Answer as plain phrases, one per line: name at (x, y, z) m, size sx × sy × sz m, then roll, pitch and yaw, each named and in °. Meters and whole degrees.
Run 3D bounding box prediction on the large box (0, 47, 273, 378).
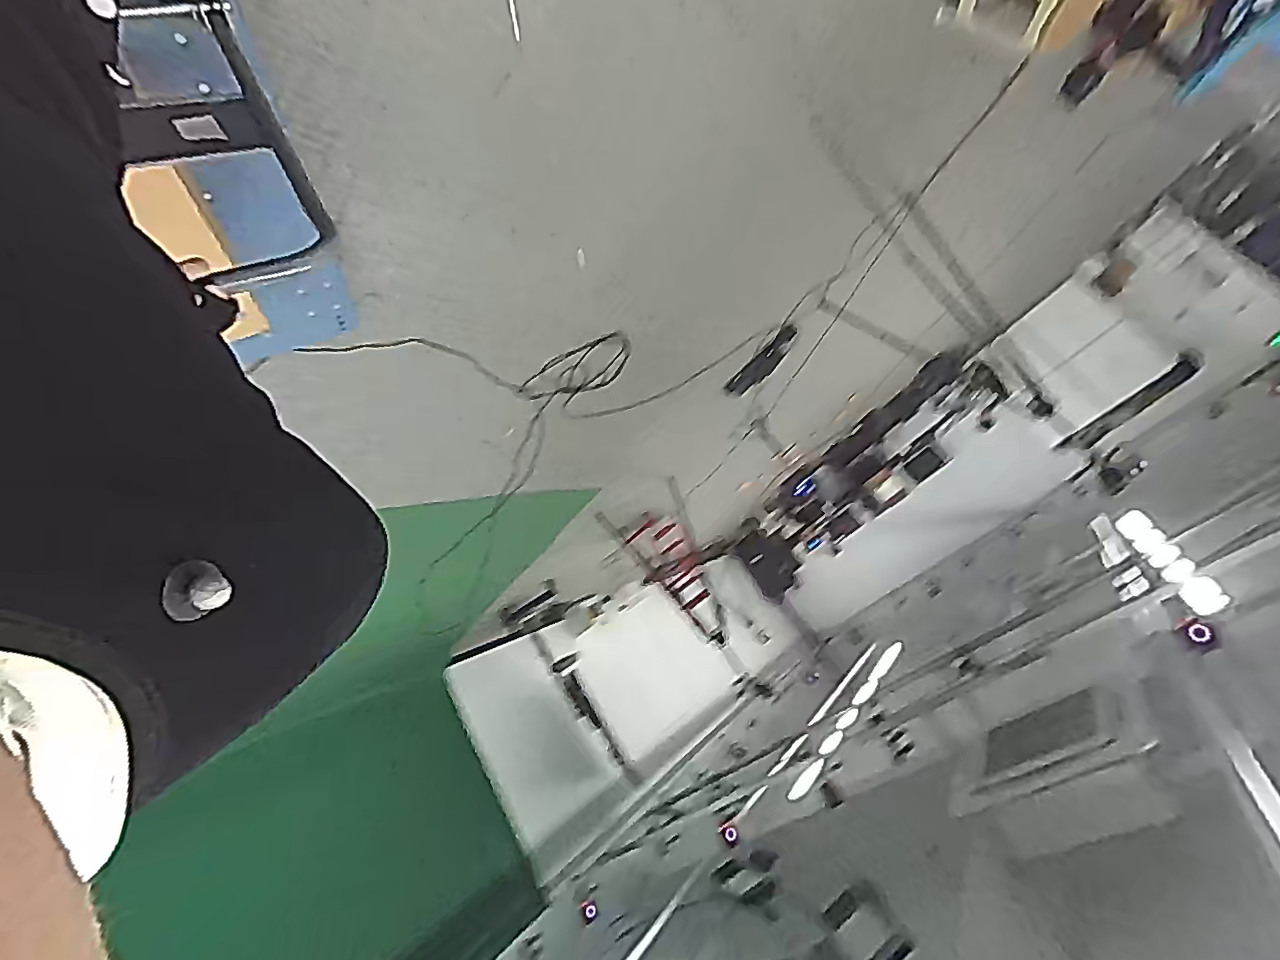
large box at (-0.970, -0.470, 0.988) m, size 0.320 × 0.320 × 0.408 m, roll -26°, pitch 160°, yaw -22°
